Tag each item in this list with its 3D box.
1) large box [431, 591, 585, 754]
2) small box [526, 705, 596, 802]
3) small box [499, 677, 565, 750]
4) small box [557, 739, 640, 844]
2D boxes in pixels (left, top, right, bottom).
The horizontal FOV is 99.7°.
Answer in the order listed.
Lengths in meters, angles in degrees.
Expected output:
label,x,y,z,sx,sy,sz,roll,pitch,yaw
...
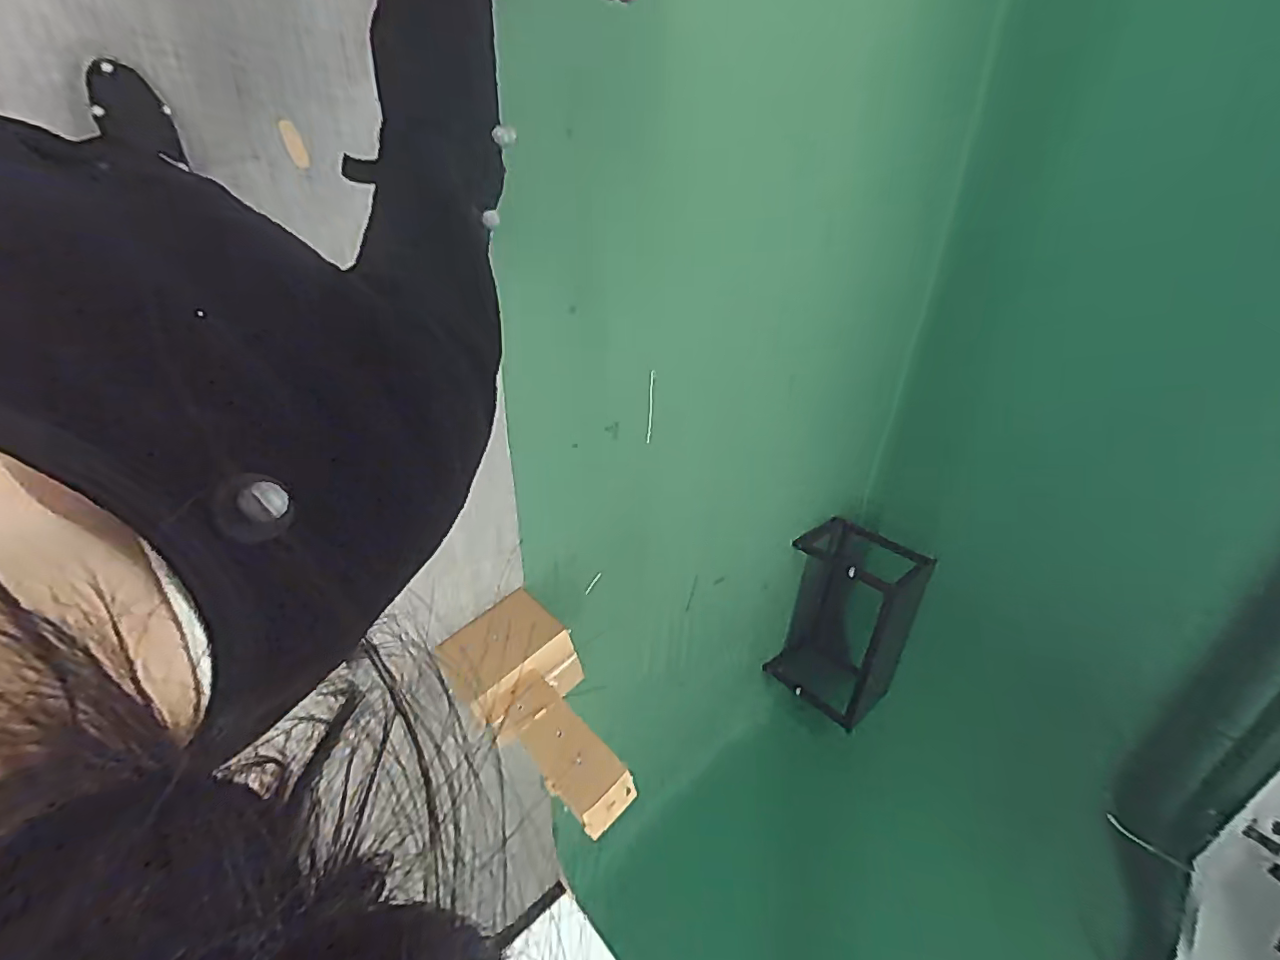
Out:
label,x,y,z,sx,sy,sz,roll,pitch,yaw
large box,-0.479,0.697,1.999,0.408,0.320,0.320,-36,134,-29
small box,-0.240,0.858,1.707,0.179,0.176,0.168,-35,133,-28
small box,-0.348,0.796,1.814,0.168,0.176,0.179,-34,132,-28
small box,-0.127,0.917,1.603,0.179,0.176,0.168,-34,132,-27
